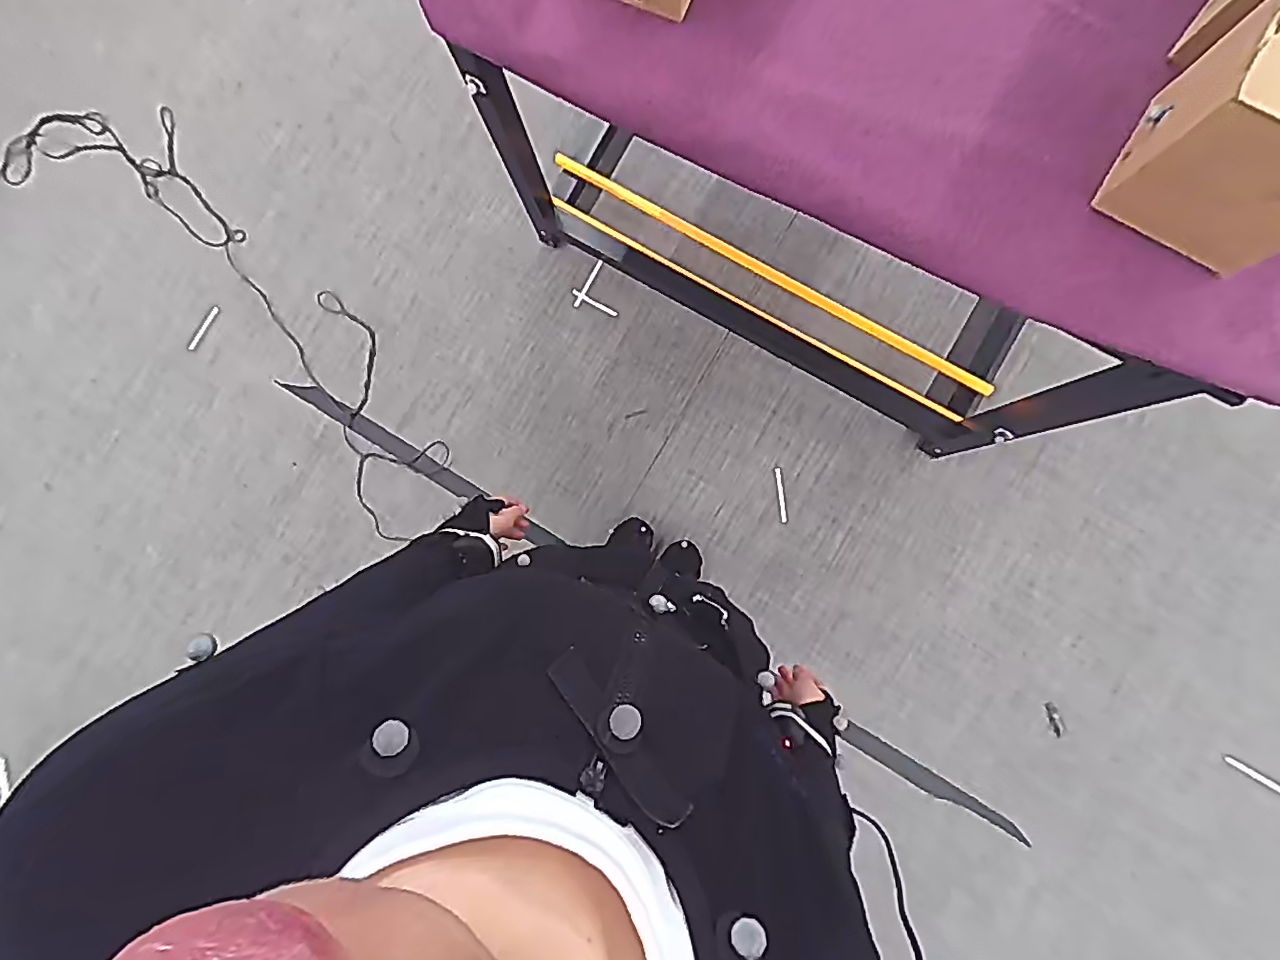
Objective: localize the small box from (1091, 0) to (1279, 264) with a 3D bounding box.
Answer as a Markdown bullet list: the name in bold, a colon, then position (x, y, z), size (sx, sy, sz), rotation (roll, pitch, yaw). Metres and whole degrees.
- **small box**: position (0.653, -0.361, 0.573), size (0.179, 0.176, 0.168), rotation (32, 86, 5)

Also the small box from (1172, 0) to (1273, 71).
- **small box**: position (0.754, -0.533, 0.580), size (0.179, 0.176, 0.168), rotation (37, 90, 4)
